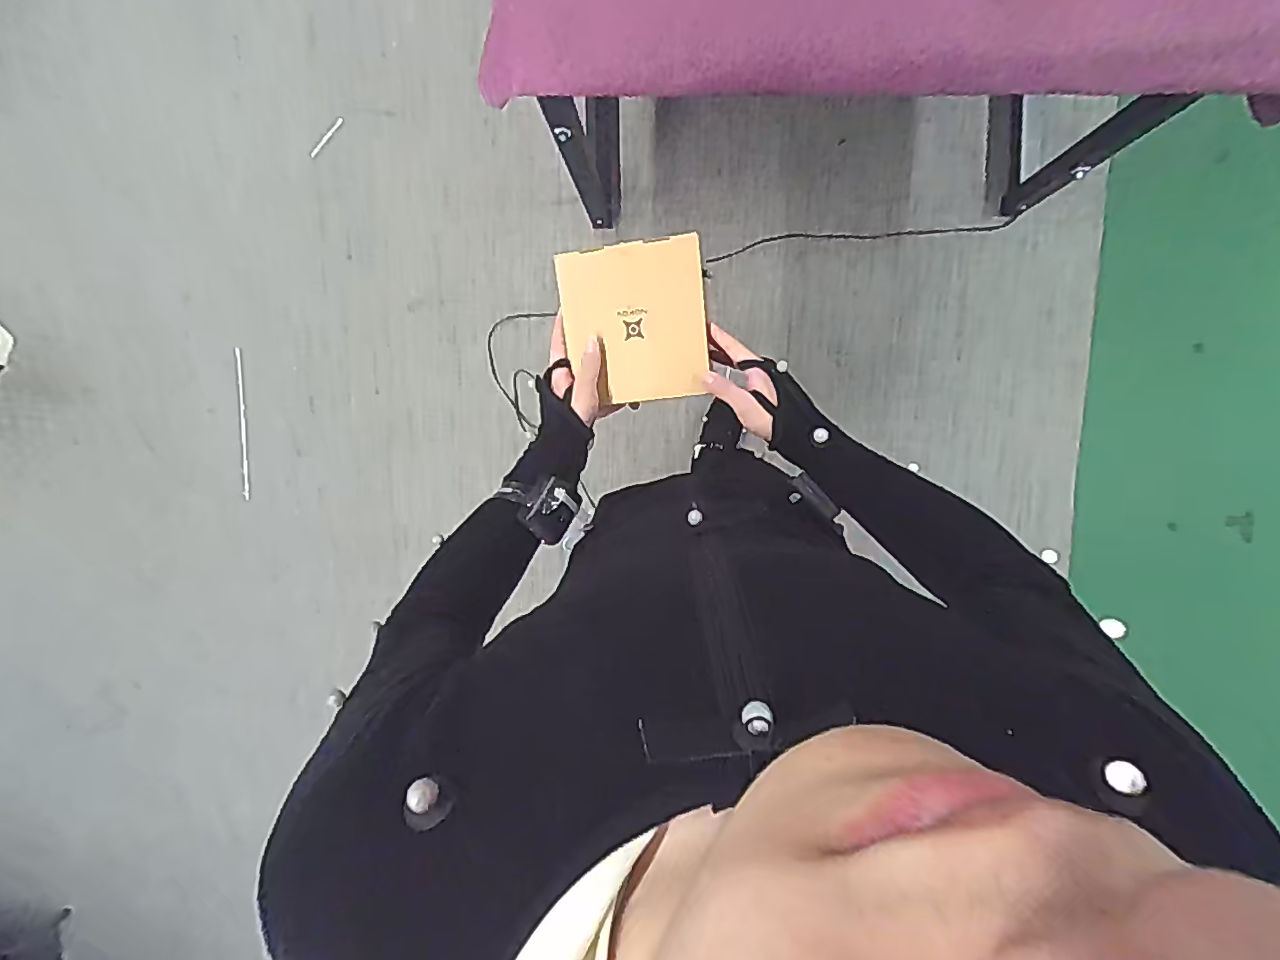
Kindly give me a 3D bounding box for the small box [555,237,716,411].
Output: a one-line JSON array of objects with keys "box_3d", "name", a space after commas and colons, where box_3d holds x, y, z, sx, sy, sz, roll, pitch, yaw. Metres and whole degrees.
[{"box_3d": [0.006, -0.189, 0.684, 0.168, 0.176, 0.179, -4, 102, 10], "name": "small box"}]
